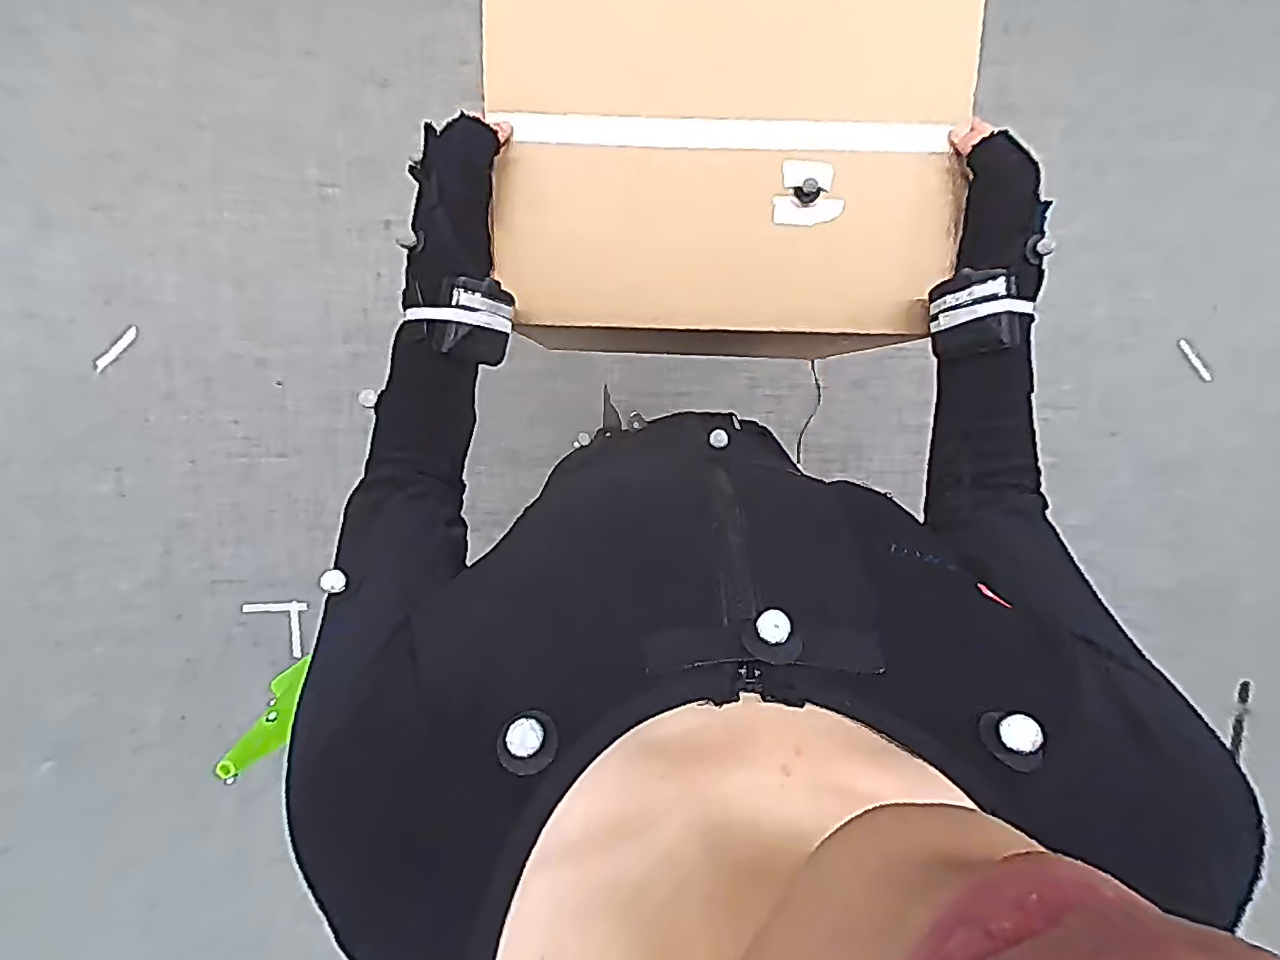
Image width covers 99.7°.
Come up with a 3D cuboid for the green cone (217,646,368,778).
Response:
[{"bbox_3d":[-0.883,0.599,1.332,0.202,0.368,0.200,-37,94,3],"label":"green cone"}]

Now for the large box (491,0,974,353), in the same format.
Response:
[{"bbox_3d":[0.071,-0.313,0.604,0.408,0.320,0.320,1,99,-2],"label":"large box"}]
